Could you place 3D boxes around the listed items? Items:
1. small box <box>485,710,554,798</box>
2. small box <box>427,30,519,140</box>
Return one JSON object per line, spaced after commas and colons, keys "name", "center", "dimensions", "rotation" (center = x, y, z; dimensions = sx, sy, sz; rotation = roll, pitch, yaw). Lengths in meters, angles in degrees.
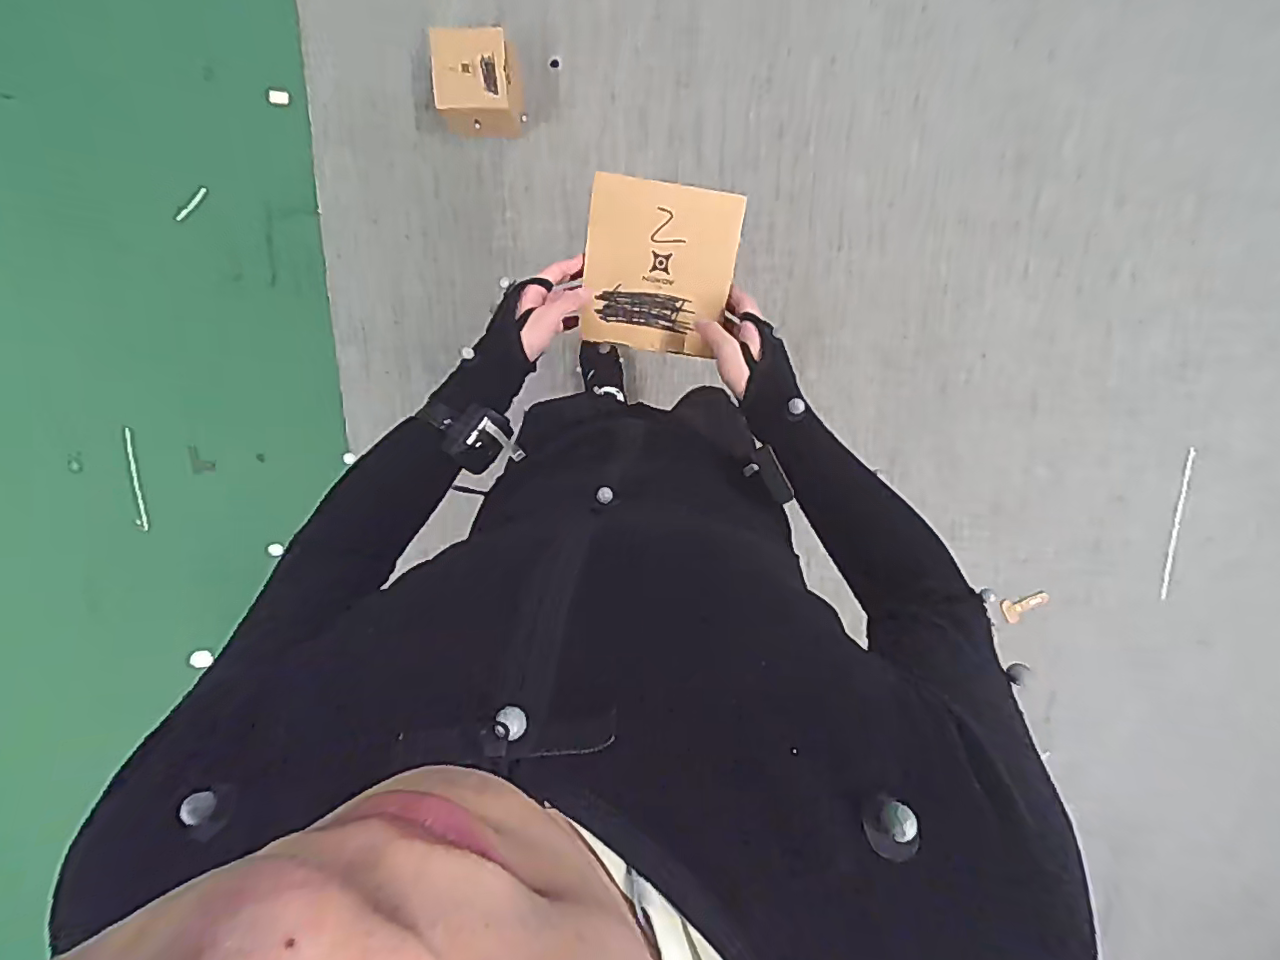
{"name": "small box", "center": [-0.374, 0.864, 1.713], "dimensions": [0.168, 0.176, 0.179], "rotation": [-8, 103, 1]}
{"name": "small box", "center": [-0.395, -0.950, 1.312], "dimensions": [0.179, 0.176, 0.168], "rotation": [0, 102, 1]}
